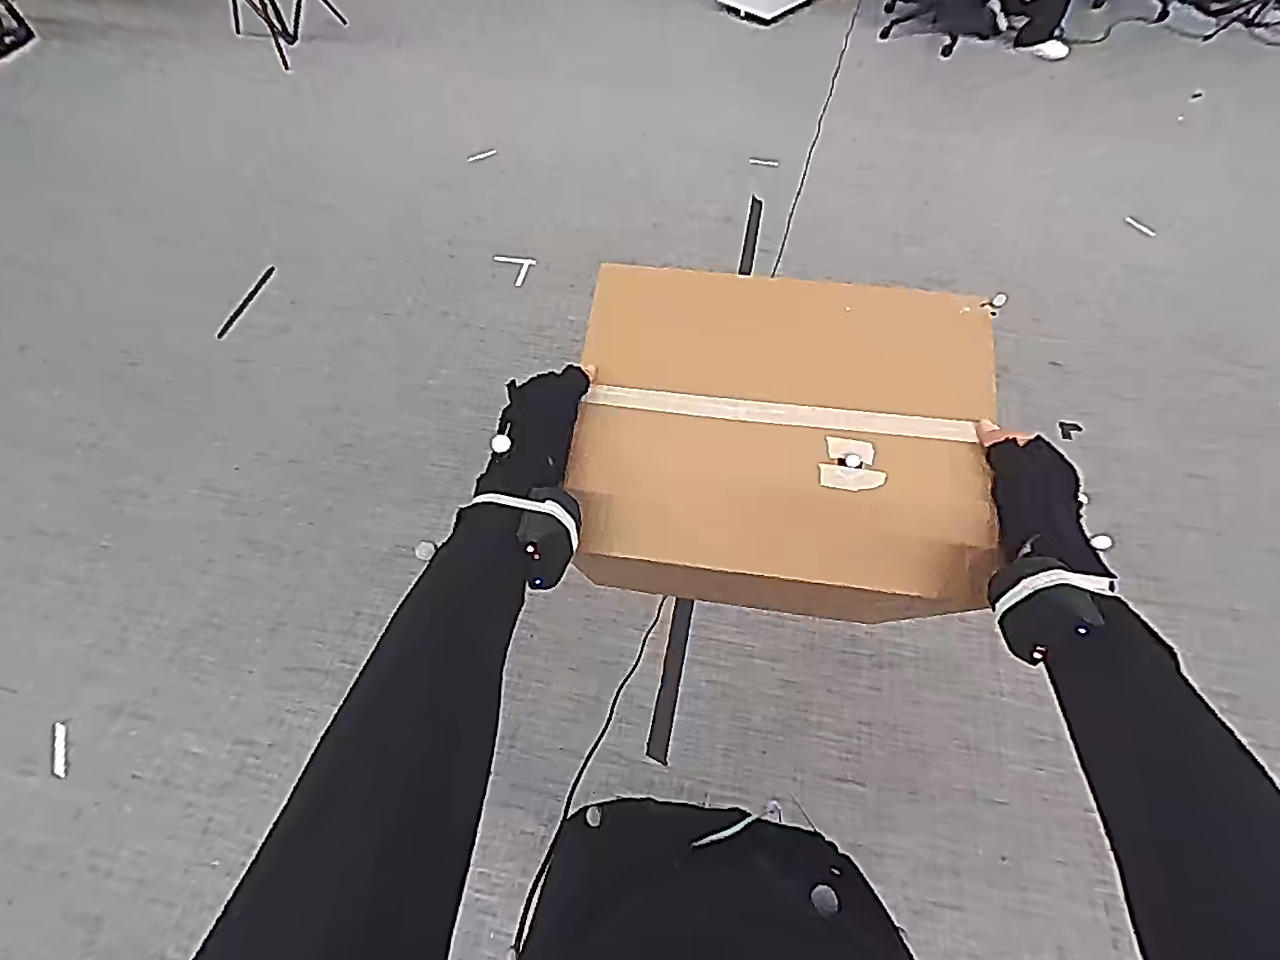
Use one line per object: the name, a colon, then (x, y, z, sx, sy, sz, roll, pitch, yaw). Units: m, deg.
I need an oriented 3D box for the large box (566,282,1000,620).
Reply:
large box: (0.149, -0.012, 0.680, 0.408, 0.320, 0.320, 7, 74, 5)
